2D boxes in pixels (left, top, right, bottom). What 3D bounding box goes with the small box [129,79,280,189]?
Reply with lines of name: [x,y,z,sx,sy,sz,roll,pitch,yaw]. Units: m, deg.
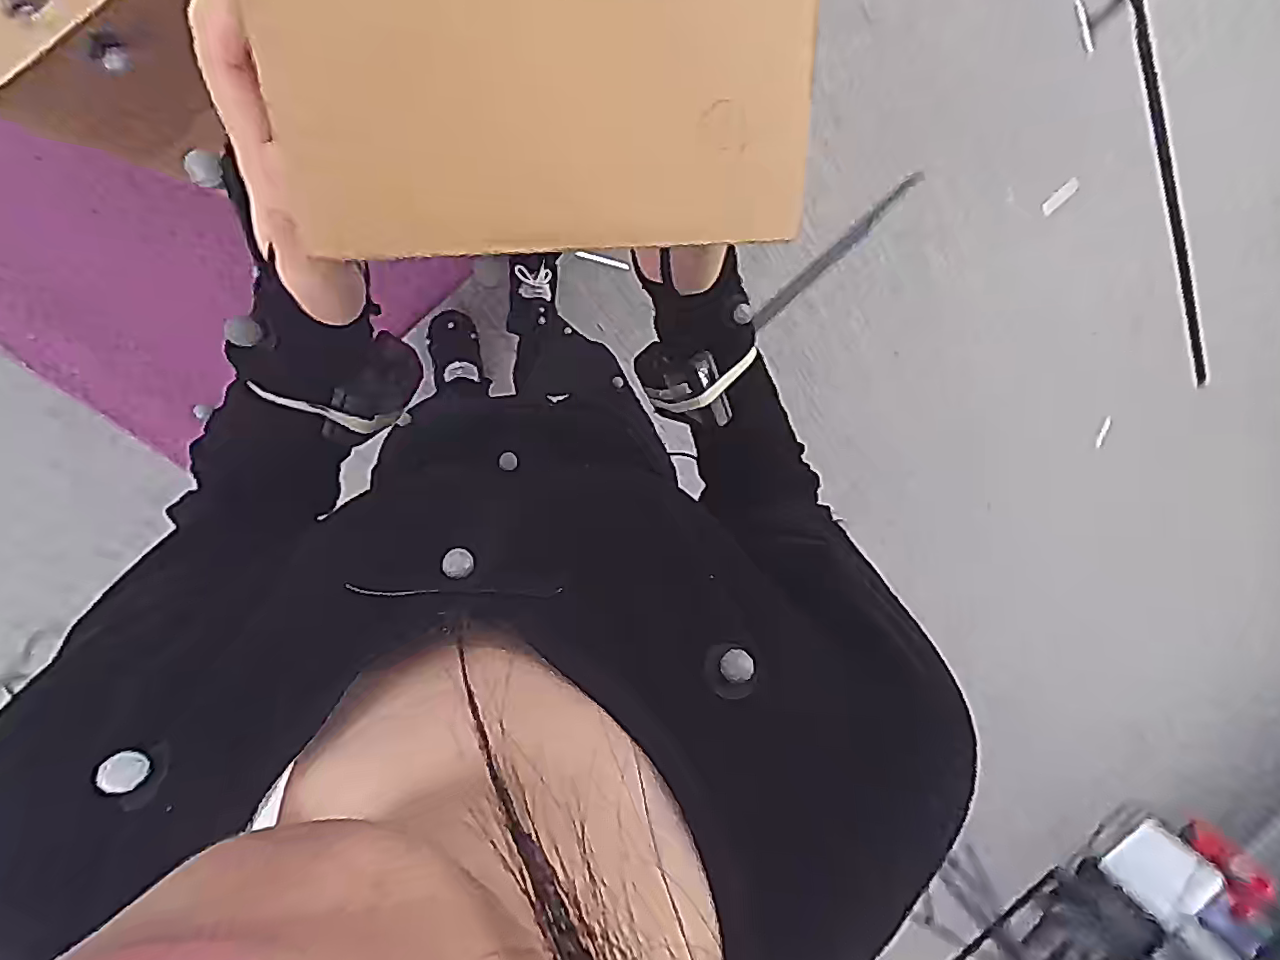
small box: [-0.382,-0.369,0.437,0.168,0.176,0.179,-41,118,-1]

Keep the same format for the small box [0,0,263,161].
small box: [-0.332,-0.312,0.291,0.168,0.176,0.179,-40,117,-1]

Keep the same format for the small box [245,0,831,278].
small box: [-0.045,-0.179,0.209,0.168,0.176,0.179,-10,115,-20]
